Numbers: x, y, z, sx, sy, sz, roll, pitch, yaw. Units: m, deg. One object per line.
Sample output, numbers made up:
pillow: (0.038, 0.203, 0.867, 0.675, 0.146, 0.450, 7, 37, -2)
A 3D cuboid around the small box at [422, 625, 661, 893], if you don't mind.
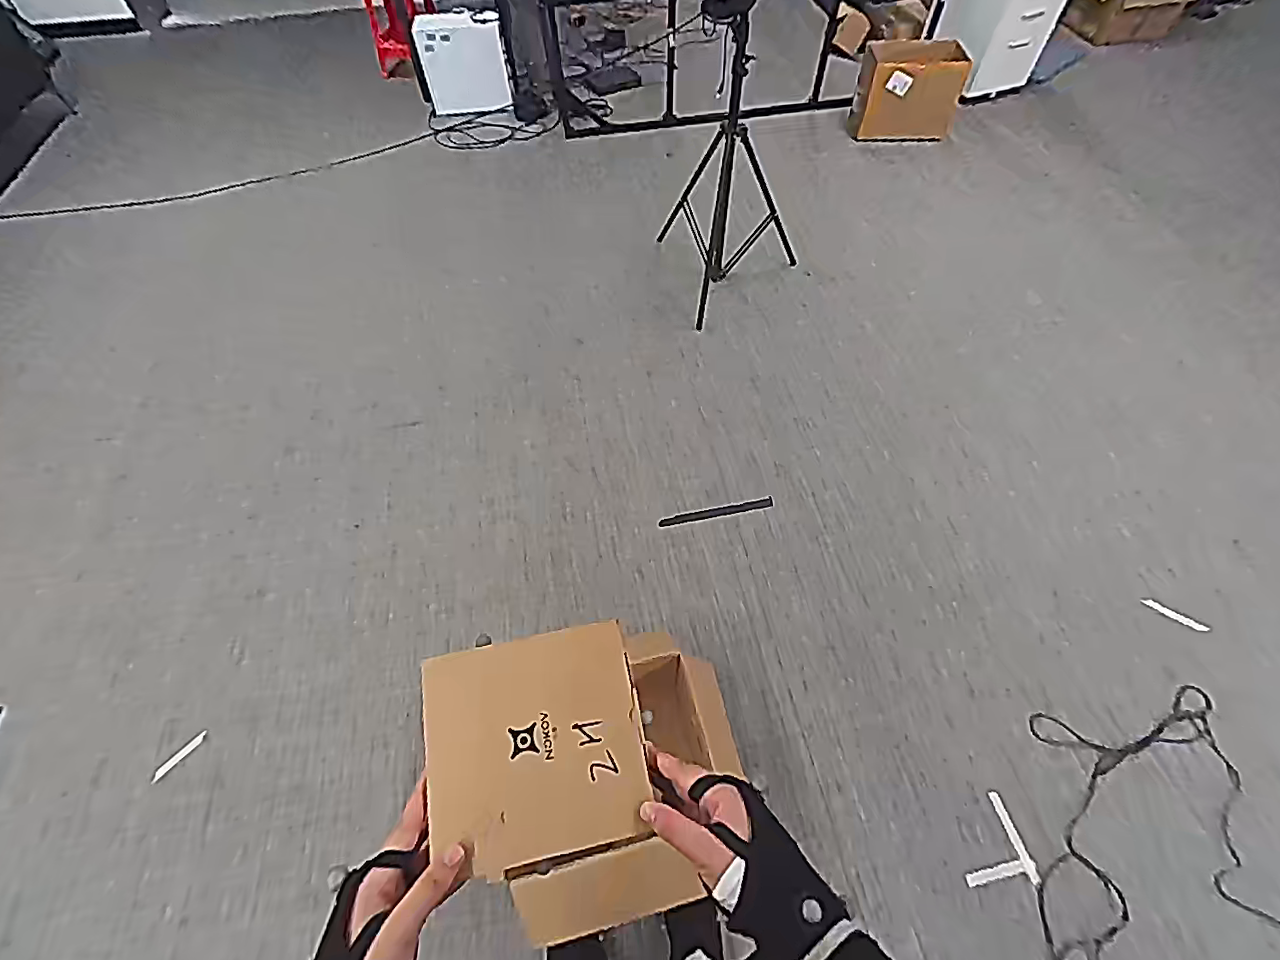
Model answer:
small box: (-0.085, 0.248, 0.501, 0.179, 0.176, 0.168, -10, 65, -7)
